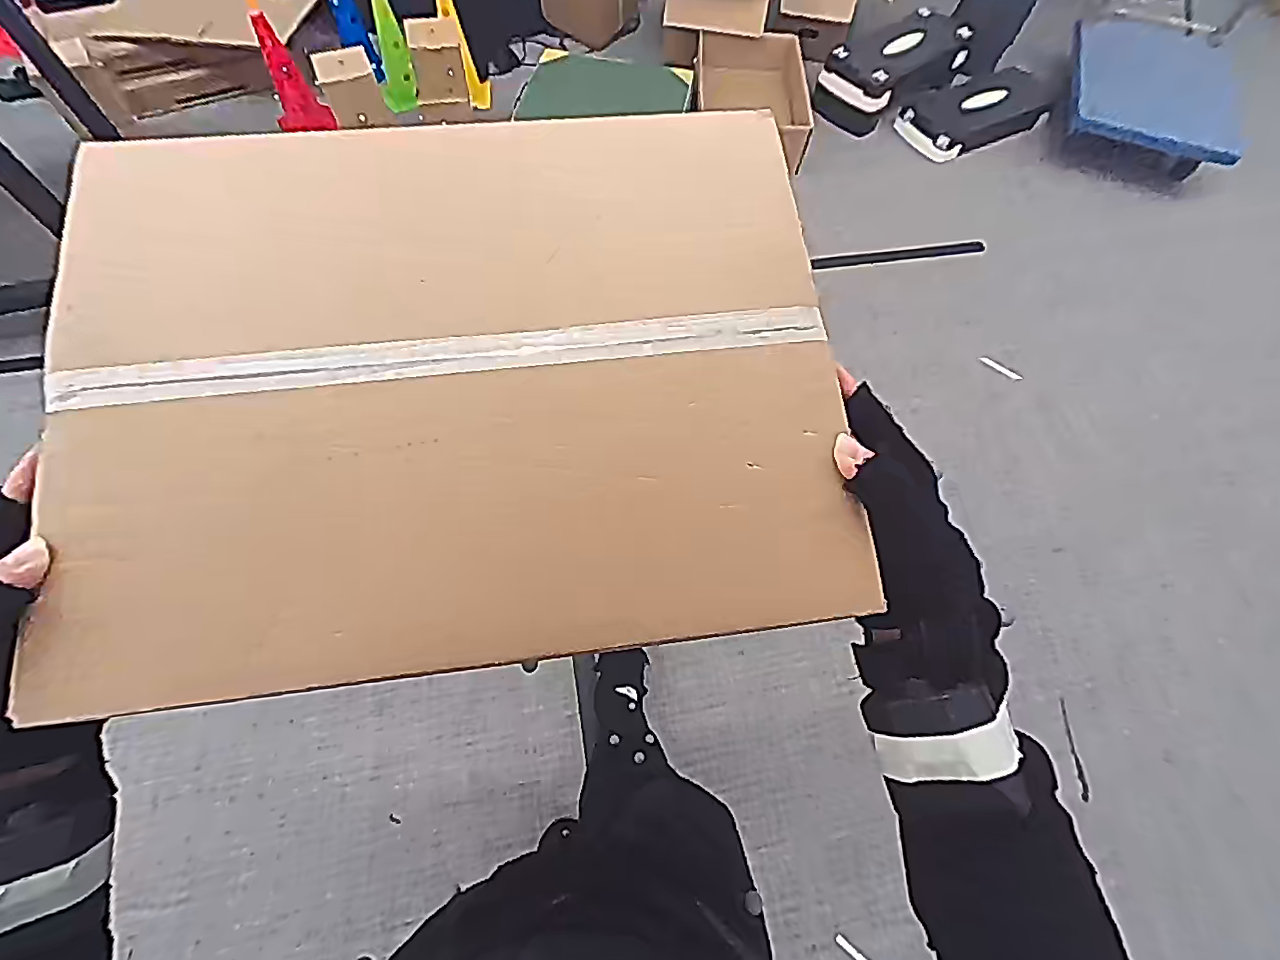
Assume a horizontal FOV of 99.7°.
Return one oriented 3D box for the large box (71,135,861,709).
[{"bbox_3d":[-0.104,-0.024,0.452,0.408,0.320,0.320,-6,77,-5],"label":"large box"}]
